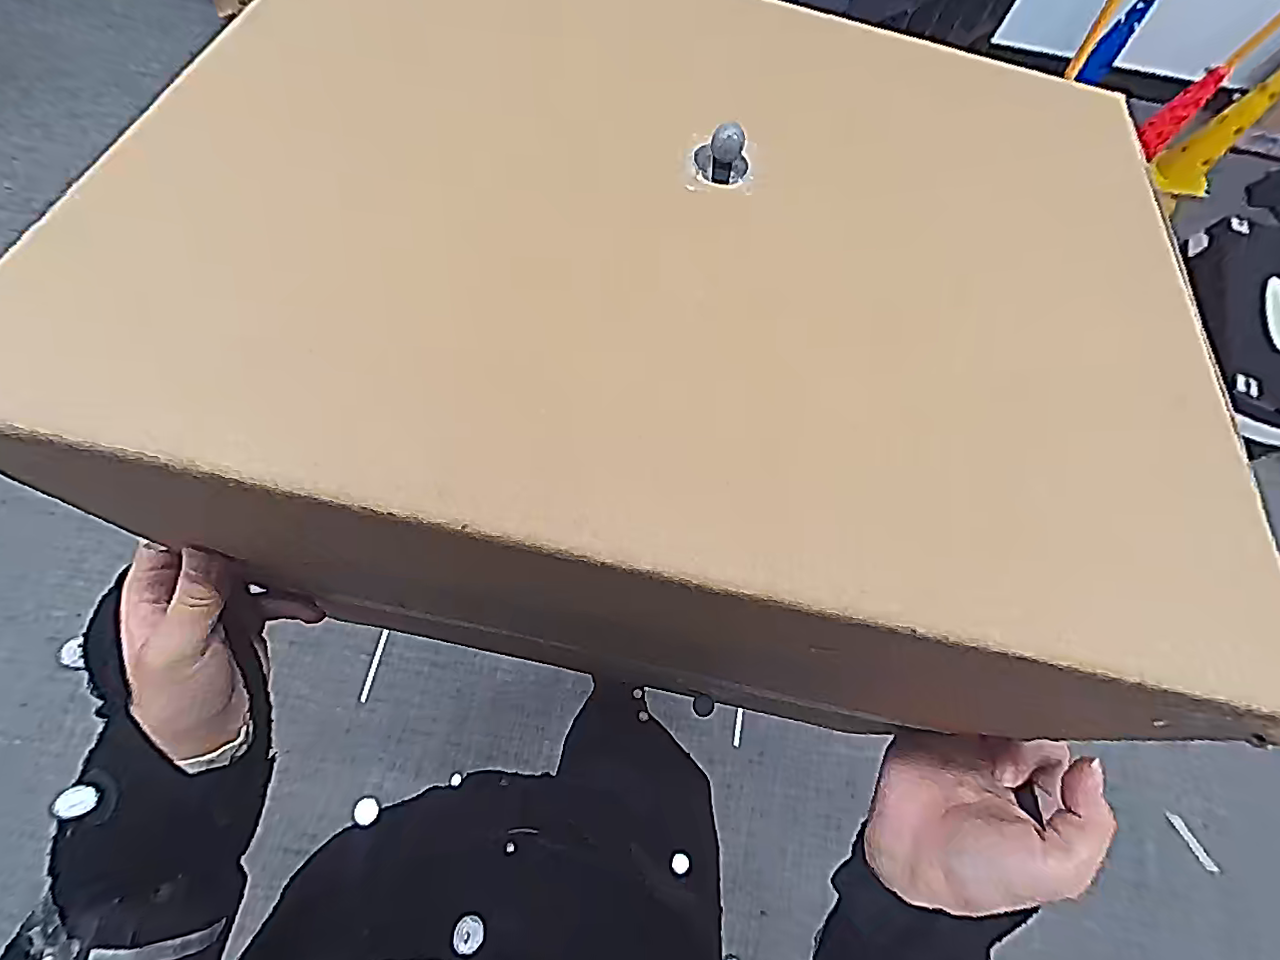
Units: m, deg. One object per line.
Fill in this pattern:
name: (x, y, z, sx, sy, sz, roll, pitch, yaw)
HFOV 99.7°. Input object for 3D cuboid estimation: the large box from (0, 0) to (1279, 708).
large box: (0.011, -0.065, 0.345, 0.408, 0.320, 0.320, 13, 66, -2)
